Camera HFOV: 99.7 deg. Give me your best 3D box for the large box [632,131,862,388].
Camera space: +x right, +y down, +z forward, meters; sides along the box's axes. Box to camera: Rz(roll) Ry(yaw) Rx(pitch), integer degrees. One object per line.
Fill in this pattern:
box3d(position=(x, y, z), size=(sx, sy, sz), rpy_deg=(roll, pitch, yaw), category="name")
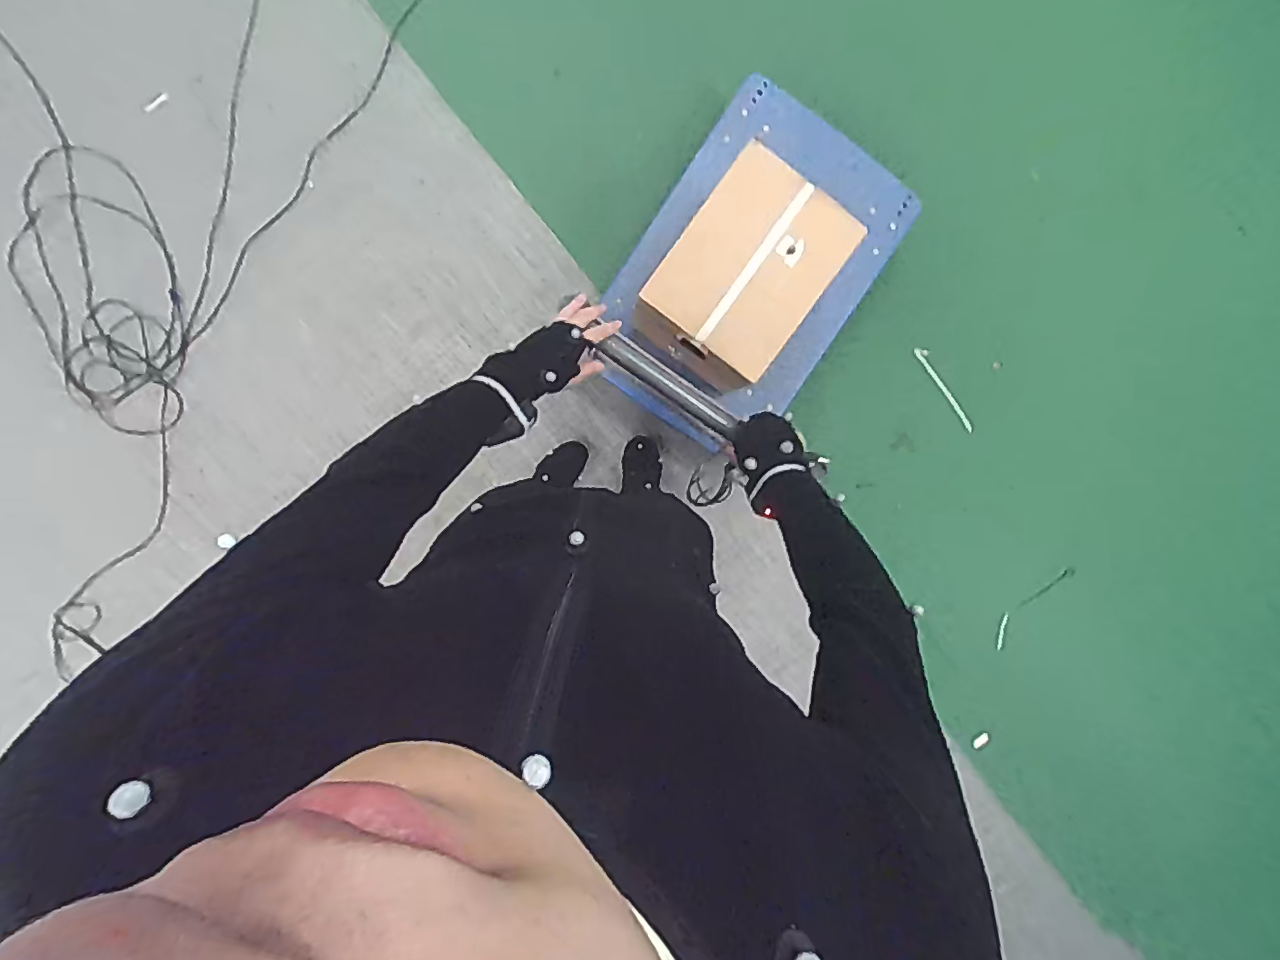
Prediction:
box3d(position=(0.220, -0.475, 1.265), size=(0.320, 0.320, 0.408), rpy_deg=(37, 92, -7), category="large box")
